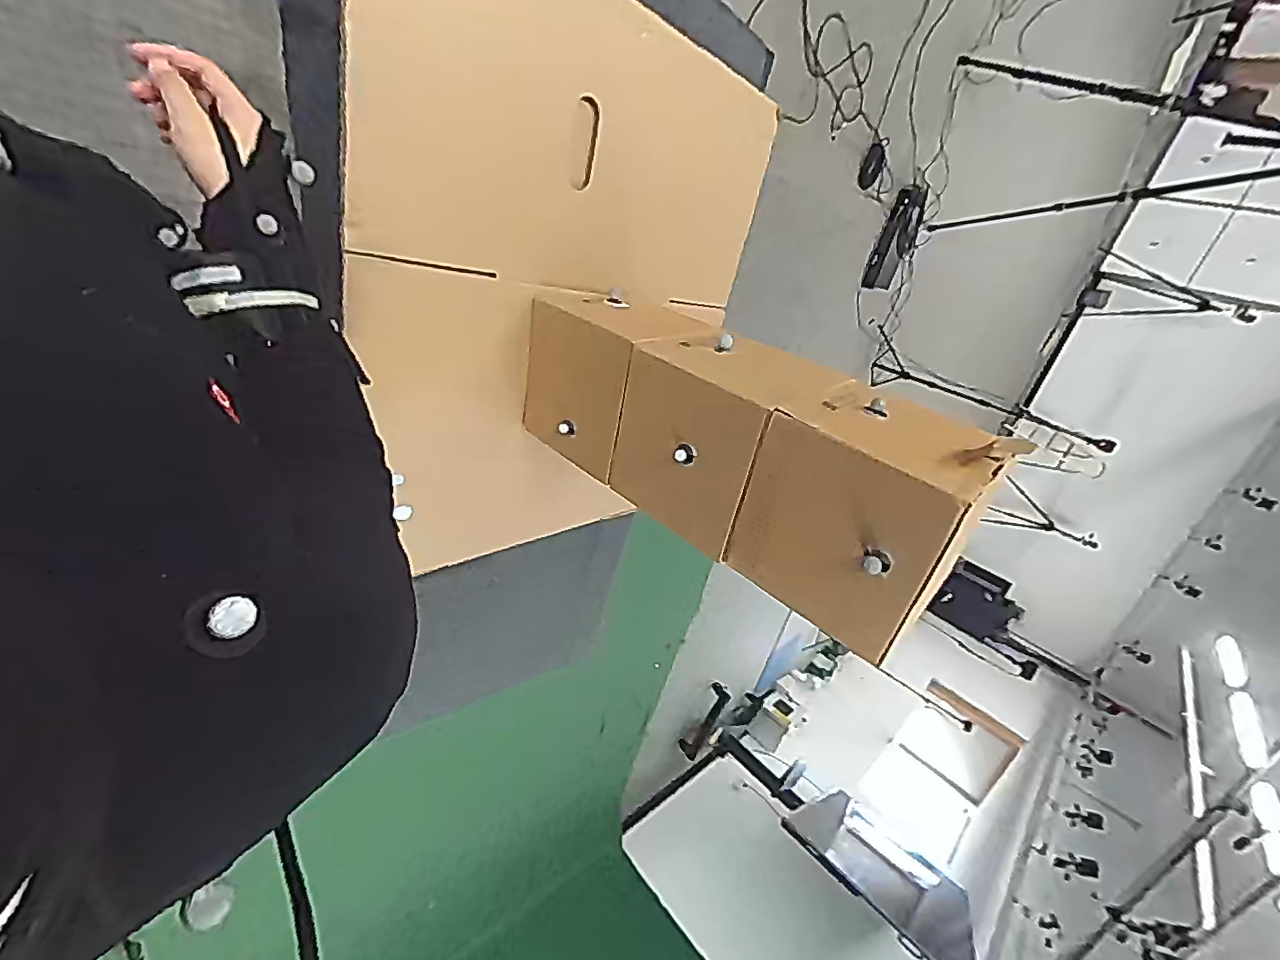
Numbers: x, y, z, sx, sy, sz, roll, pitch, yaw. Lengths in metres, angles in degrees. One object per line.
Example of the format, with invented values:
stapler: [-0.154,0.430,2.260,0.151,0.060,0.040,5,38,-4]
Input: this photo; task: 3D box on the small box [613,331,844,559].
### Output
small box: [0.088,-0.049,0.599,0.168,0.176,0.179,-23,134,-43]

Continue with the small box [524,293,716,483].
small box: [-0.031,-0.125,0.684,0.168,0.176,0.179,-22,133,-44]

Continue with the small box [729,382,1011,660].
small box: [0.208,0.026,0.519,0.168,0.176,0.179,-23,134,-43]
